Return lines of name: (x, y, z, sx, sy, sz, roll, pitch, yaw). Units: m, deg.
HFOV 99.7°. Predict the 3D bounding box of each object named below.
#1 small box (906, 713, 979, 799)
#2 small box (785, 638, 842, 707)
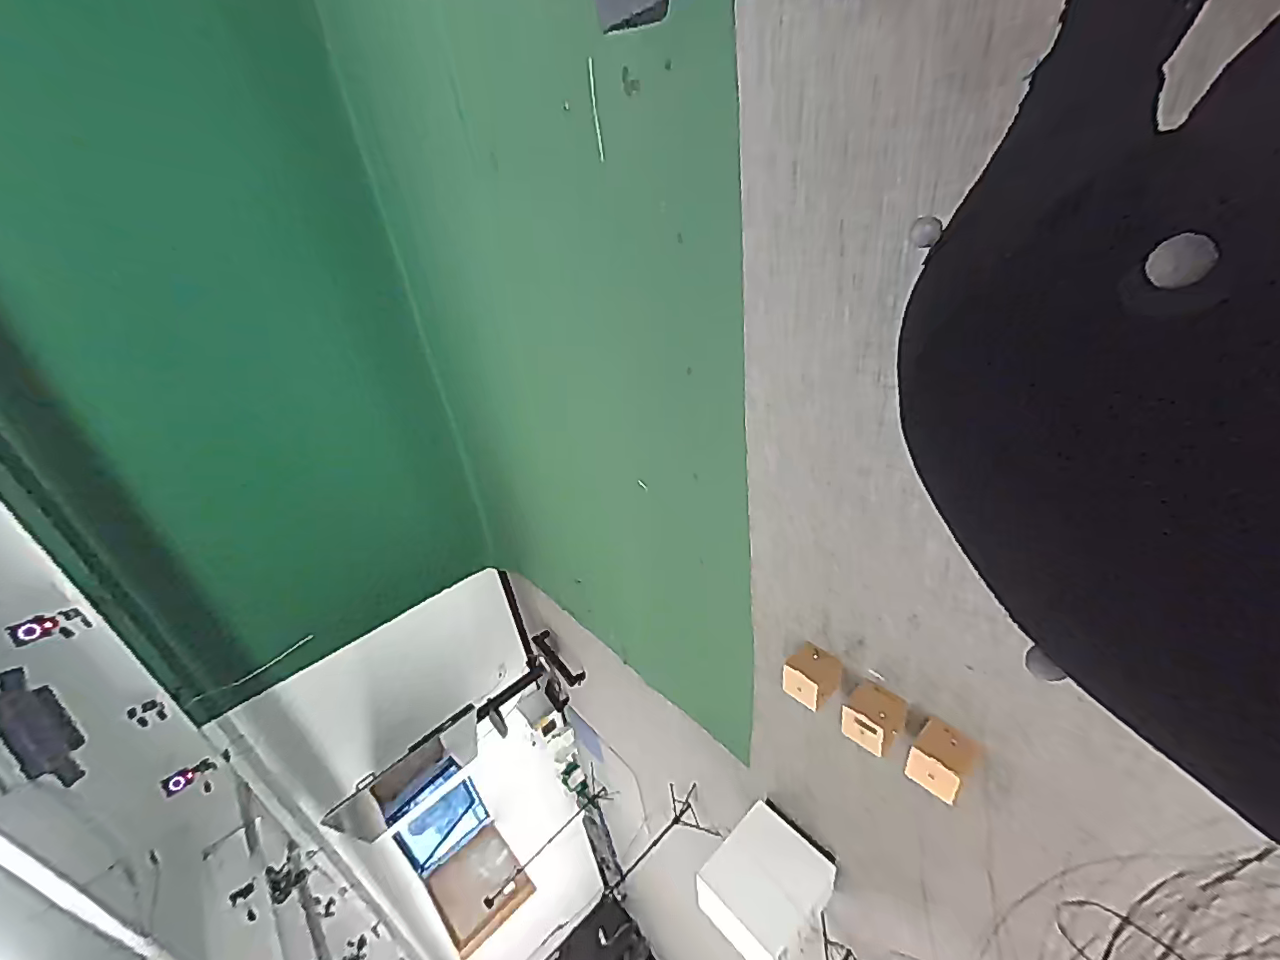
small box: (1.084, 0.982, 1.934, 0.168, 0.176, 0.179, 26, 134, 42)
small box: (0.737, 0.813, 2.296, 0.168, 0.176, 0.179, 26, 134, 42)
